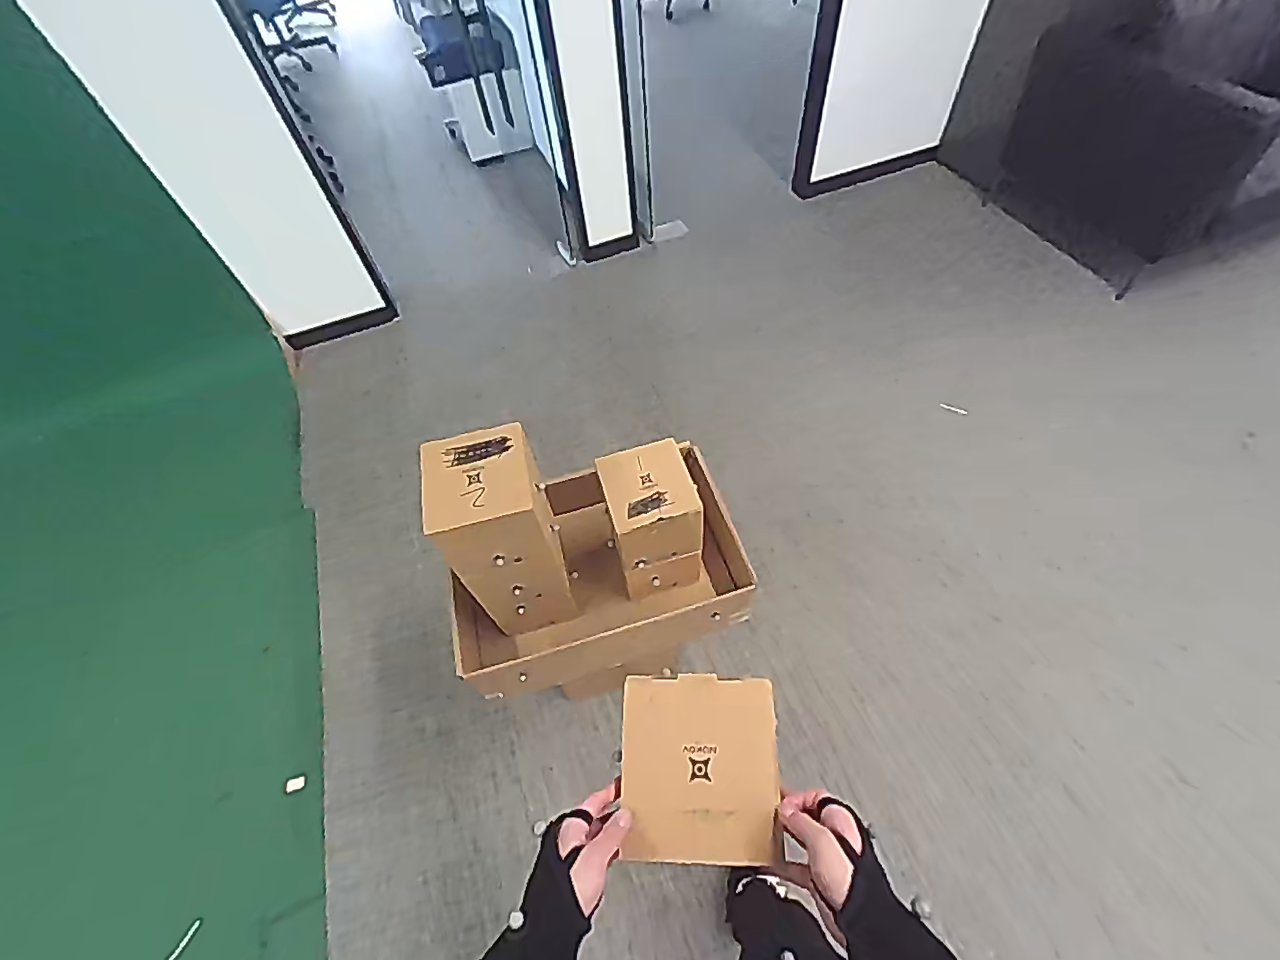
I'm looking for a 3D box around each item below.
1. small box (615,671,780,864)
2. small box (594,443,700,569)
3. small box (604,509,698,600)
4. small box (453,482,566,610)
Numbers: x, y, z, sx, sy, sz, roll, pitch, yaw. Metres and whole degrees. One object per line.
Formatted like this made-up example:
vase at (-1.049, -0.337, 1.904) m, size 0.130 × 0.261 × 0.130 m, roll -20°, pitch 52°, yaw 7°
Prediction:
small box at (0.062, 0.329, 0.640) m, size 0.168 × 0.176 × 0.179 m, roll 0°, pitch 66°, yaw 3°
small box at (0.016, 0.059, 1.073) m, size 0.168 × 0.176 × 0.179 m, roll -16°, pitch 55°, yaw -6°
small box at (0.028, 0.153, 1.208) m, size 0.168 × 0.176 × 0.179 m, roll -15°, pitch 56°, yaw -5°
small box at (-0.247, 0.135, 1.043) m, size 0.168 × 0.176 × 0.179 m, roll -14°, pitch 56°, yaw -6°
